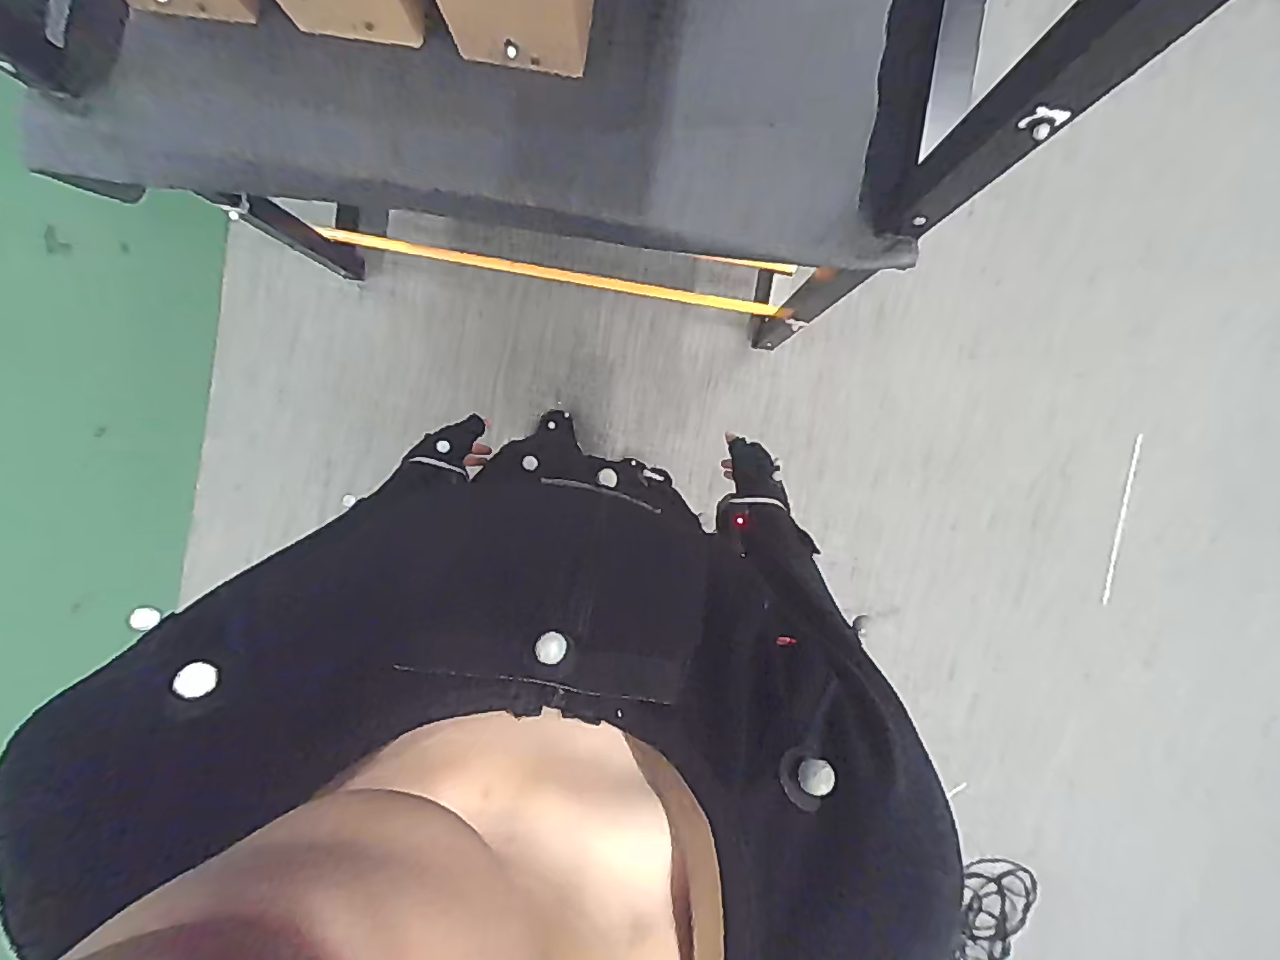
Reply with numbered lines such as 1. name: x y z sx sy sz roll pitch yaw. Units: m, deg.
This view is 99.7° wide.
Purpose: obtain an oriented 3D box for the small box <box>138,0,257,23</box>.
1. small box: -0.576 -0.696 0.629 0.168 0.176 0.179 7 94 0
